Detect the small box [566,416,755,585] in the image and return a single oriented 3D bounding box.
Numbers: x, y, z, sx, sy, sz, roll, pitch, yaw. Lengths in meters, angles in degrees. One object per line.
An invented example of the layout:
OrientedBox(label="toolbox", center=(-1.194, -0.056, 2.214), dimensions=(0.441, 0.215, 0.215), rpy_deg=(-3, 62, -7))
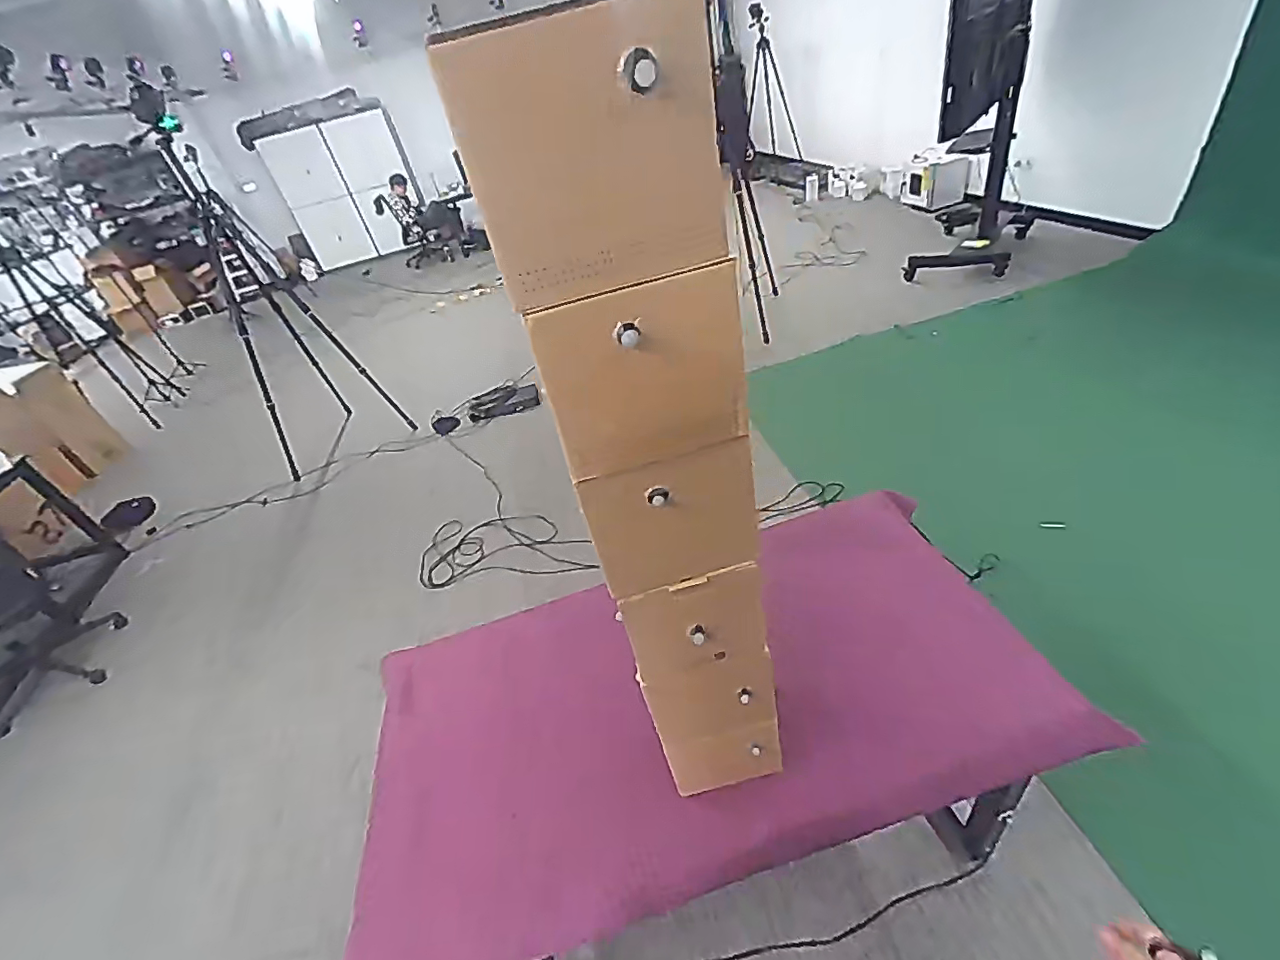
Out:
OrientedBox(label="small box", center=(0.020, -0.004, 0.623), dimensions=(0.179, 0.176, 0.168), rpy_deg=(-16, 36, -2))

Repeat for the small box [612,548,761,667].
OrientedBox(label="small box", center=(0.054, 0.125, 0.719), dimensions=(0.168, 0.176, 0.179), rpy_deg=(-15, 37, 0))

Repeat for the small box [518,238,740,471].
OrientedBox(label="small box", center=(-0.008, -0.134, 0.529), dimensions=(0.179, 0.176, 0.168), rpy_deg=(-16, 36, -1))

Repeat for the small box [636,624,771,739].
OrientedBox(label="small box", center=(0.089, 0.255, 0.810), dimensions=(0.179, 0.176, 0.168), rpy_deg=(-15, 36, 0))

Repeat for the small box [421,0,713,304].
OrientedBox(label="small box", center=(-0.046, -0.264, 0.436), dimensions=(0.179, 0.176, 0.168), rpy_deg=(-16, 36, -1))
